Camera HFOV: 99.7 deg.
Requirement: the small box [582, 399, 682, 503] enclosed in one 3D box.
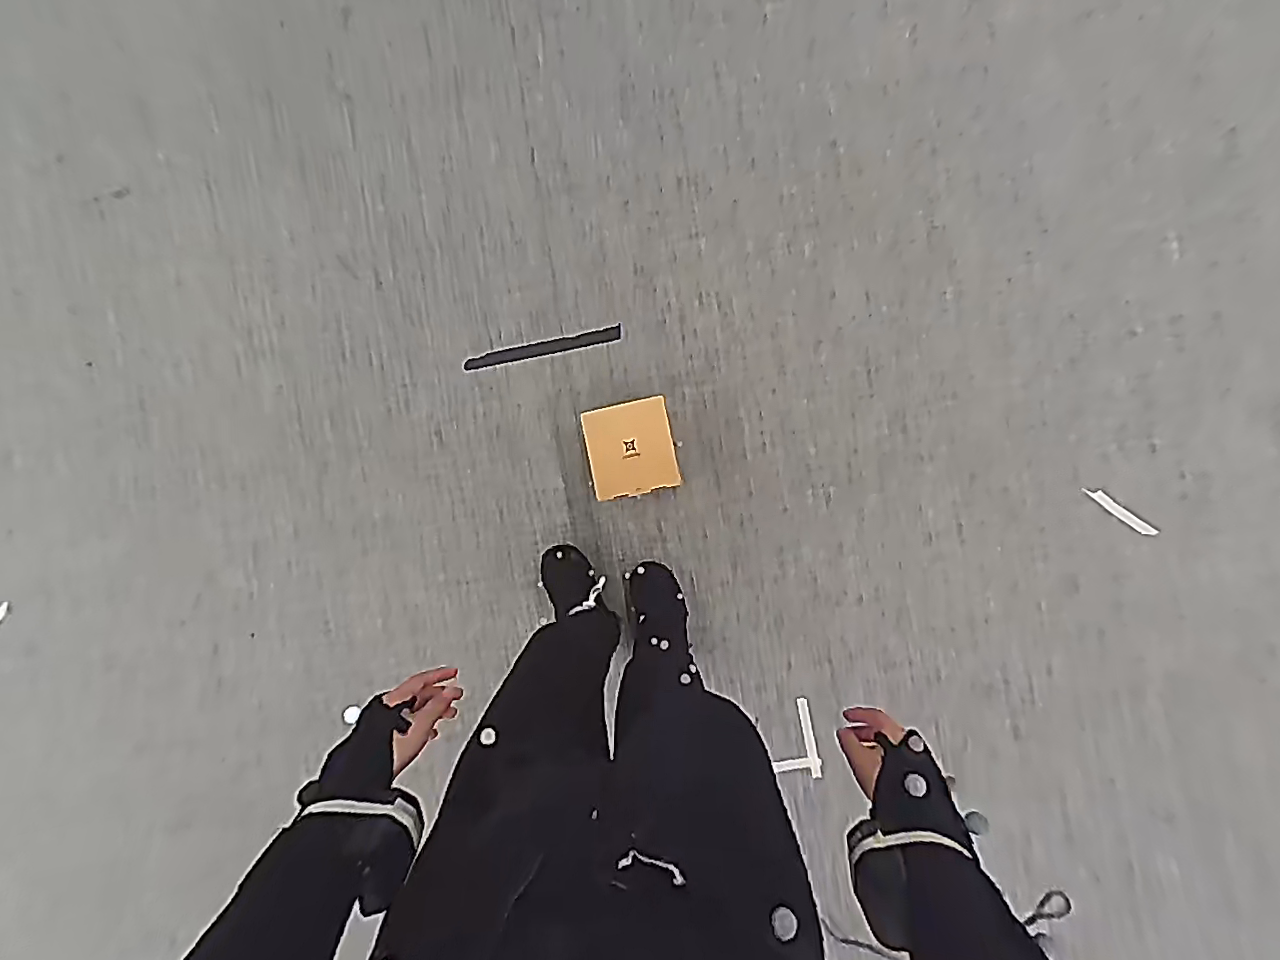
[{"bbox_3d":[-0.011,-0.055,1.109,0.168,0.176,0.179,-12,90,5],"label":"small box"}]
